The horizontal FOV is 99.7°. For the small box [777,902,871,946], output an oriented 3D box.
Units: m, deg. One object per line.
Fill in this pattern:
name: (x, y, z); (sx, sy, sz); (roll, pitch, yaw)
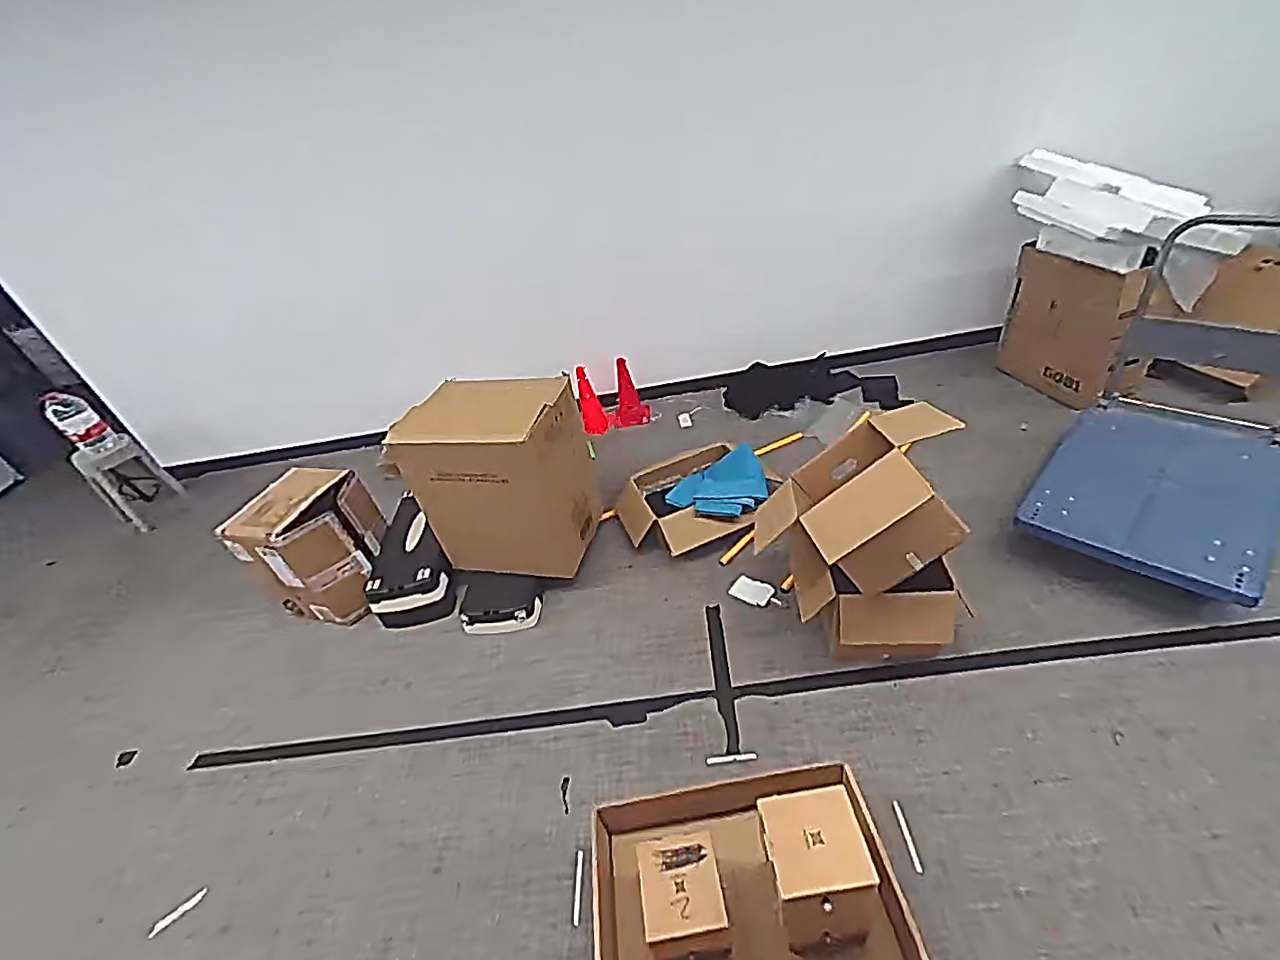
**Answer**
small box: (0.370, 0.850, 1.140); (0.168, 0.176, 0.179); (-11, 36, 2)

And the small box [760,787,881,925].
small box: (0.338, 0.724, 1.042); (0.179, 0.176, 0.168); (-12, 37, 3)
